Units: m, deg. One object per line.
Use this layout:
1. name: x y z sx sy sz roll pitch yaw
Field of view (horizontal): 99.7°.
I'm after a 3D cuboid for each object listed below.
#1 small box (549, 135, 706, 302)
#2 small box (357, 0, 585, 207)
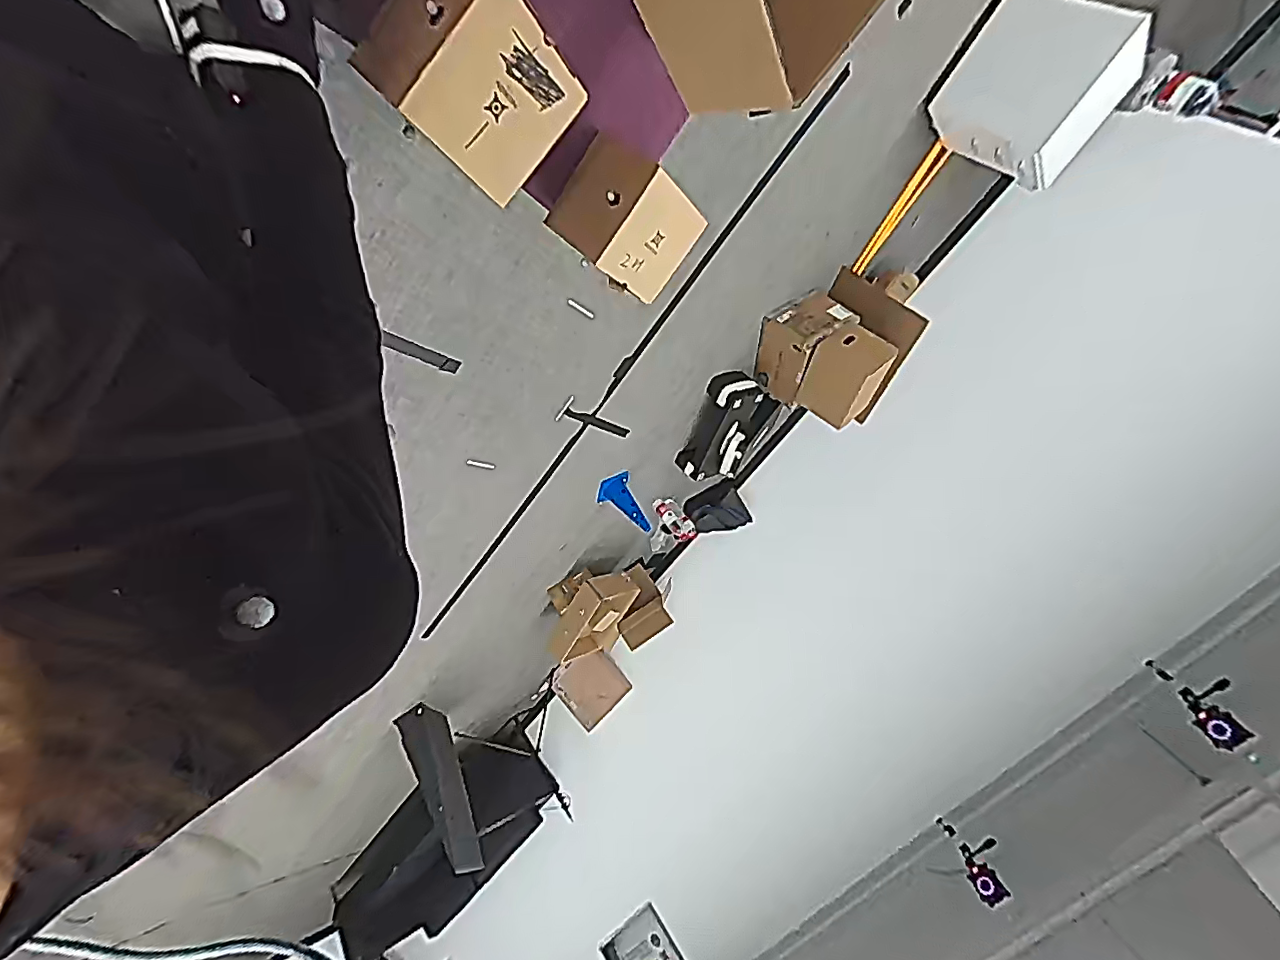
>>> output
1. small box: -0.026 -0.450 0.935 0.179 0.176 0.168 -52 149 16
2. small box: -0.208 -0.487 0.658 0.179 0.176 0.168 -47 151 11
